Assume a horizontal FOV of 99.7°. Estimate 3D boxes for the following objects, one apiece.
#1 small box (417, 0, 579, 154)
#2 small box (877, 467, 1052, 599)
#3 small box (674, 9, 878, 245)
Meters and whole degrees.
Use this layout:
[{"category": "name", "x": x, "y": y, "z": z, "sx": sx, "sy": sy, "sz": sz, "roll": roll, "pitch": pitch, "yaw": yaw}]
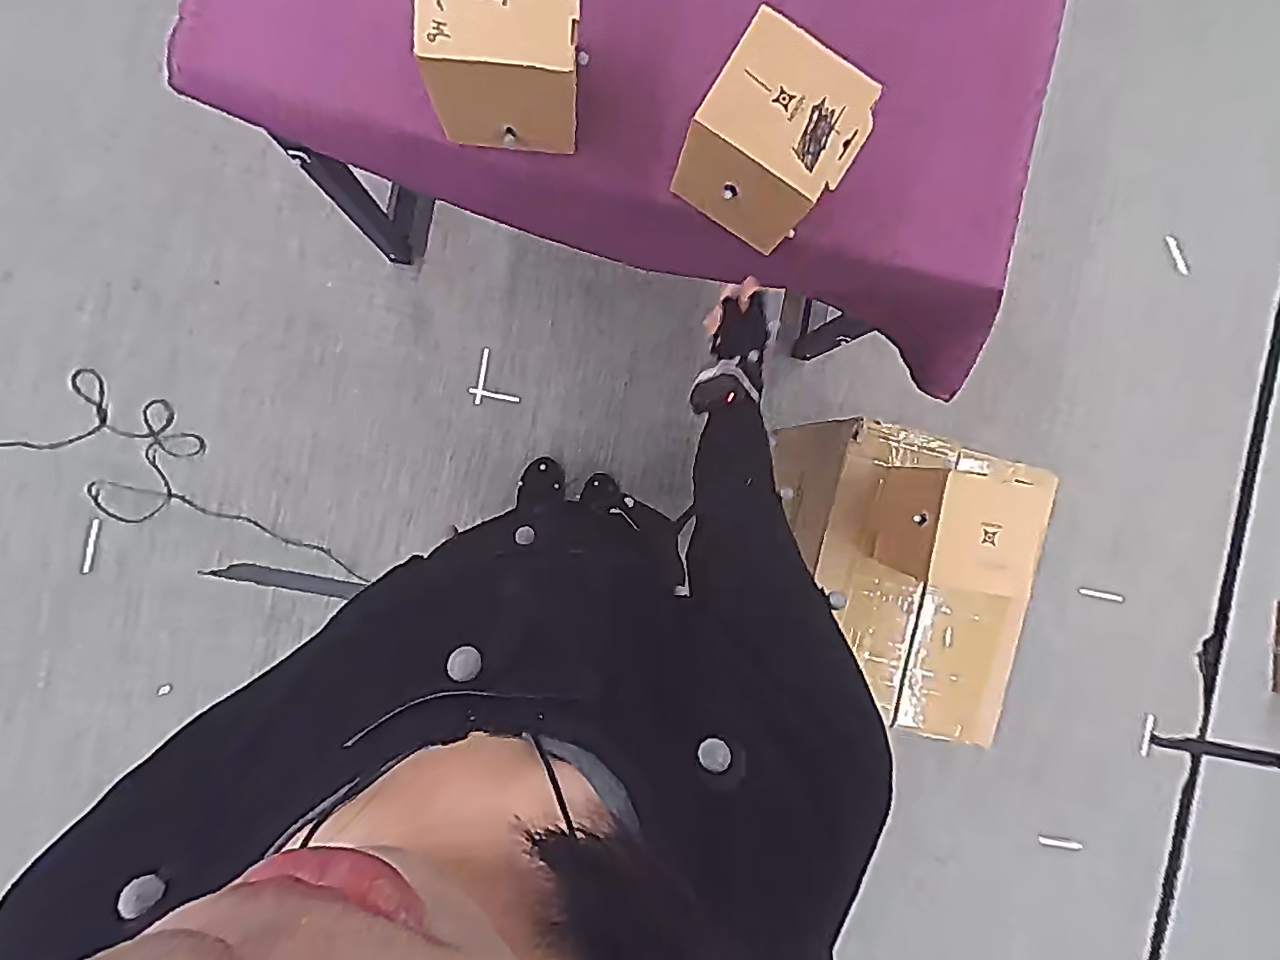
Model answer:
[{"category": "small box", "x": -0.168, "y": -0.543, "z": 0.682, "sx": 0.179, "sy": 0.176, "sz": 0.168, "roll": 1, "pitch": 91, "yaw": -7}, {"category": "small box", "x": 0.511, "y": 0.077, "z": 0.876, "sx": 0.168, "sy": 0.176, "sz": 0.179, "roll": 9, "pitch": 92, "yaw": -4}, {"category": "small box", "x": 0.167, "y": -0.445, "z": 0.721, "sx": 0.179, "sy": 0.176, "sz": 0.168, "roll": 32, "pitch": 87, "yaw": -5}]
